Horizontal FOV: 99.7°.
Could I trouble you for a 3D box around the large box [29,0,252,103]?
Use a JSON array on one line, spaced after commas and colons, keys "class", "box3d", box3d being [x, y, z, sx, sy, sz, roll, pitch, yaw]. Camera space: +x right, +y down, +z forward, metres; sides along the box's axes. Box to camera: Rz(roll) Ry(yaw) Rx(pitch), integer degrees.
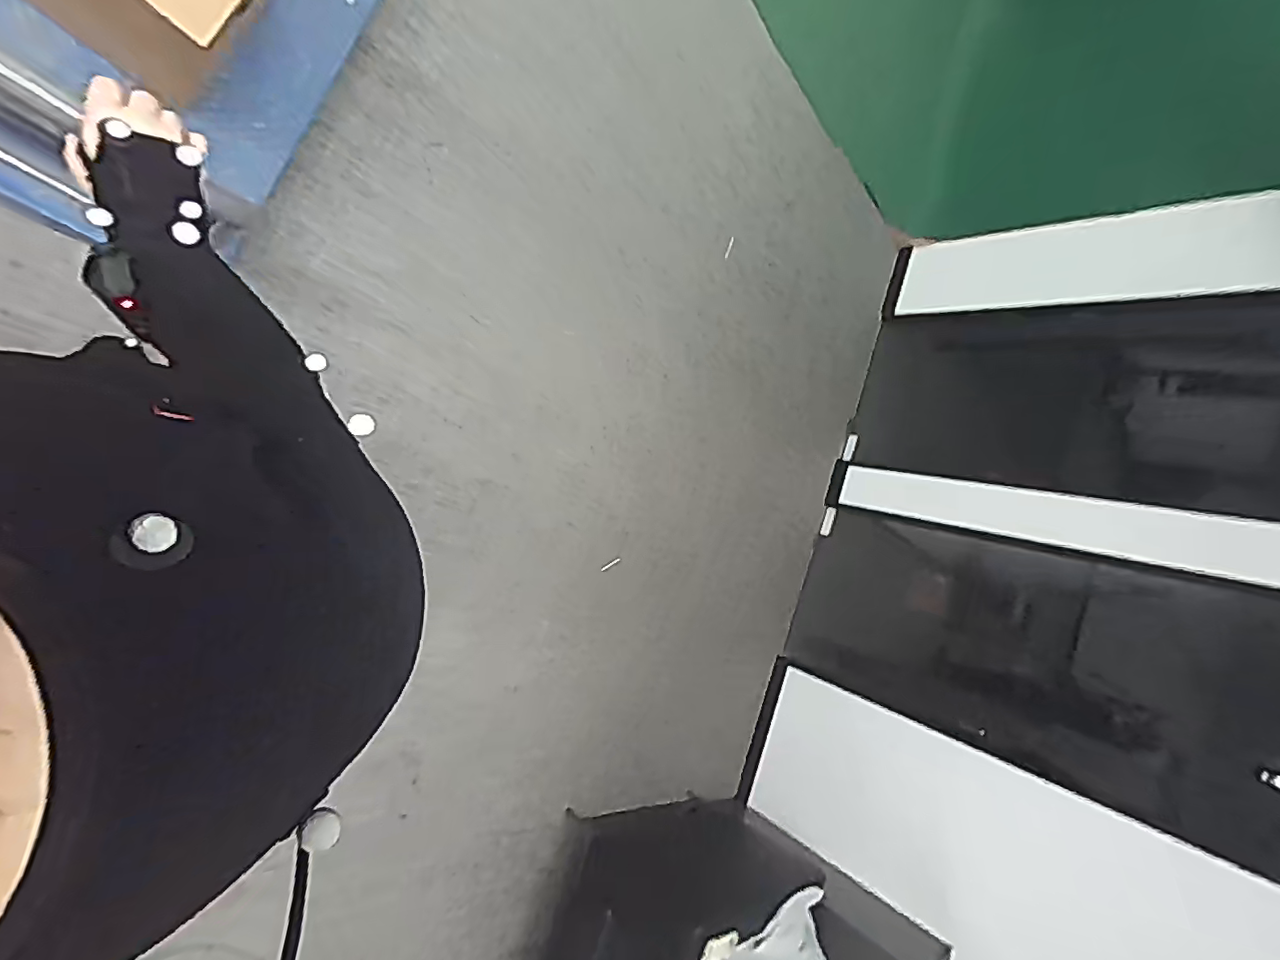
[{"class": "large box", "box3d": [-0.798, -0.865, 0.764, 0.408, 0.320, 0.320, 33, 76, -44]}]
